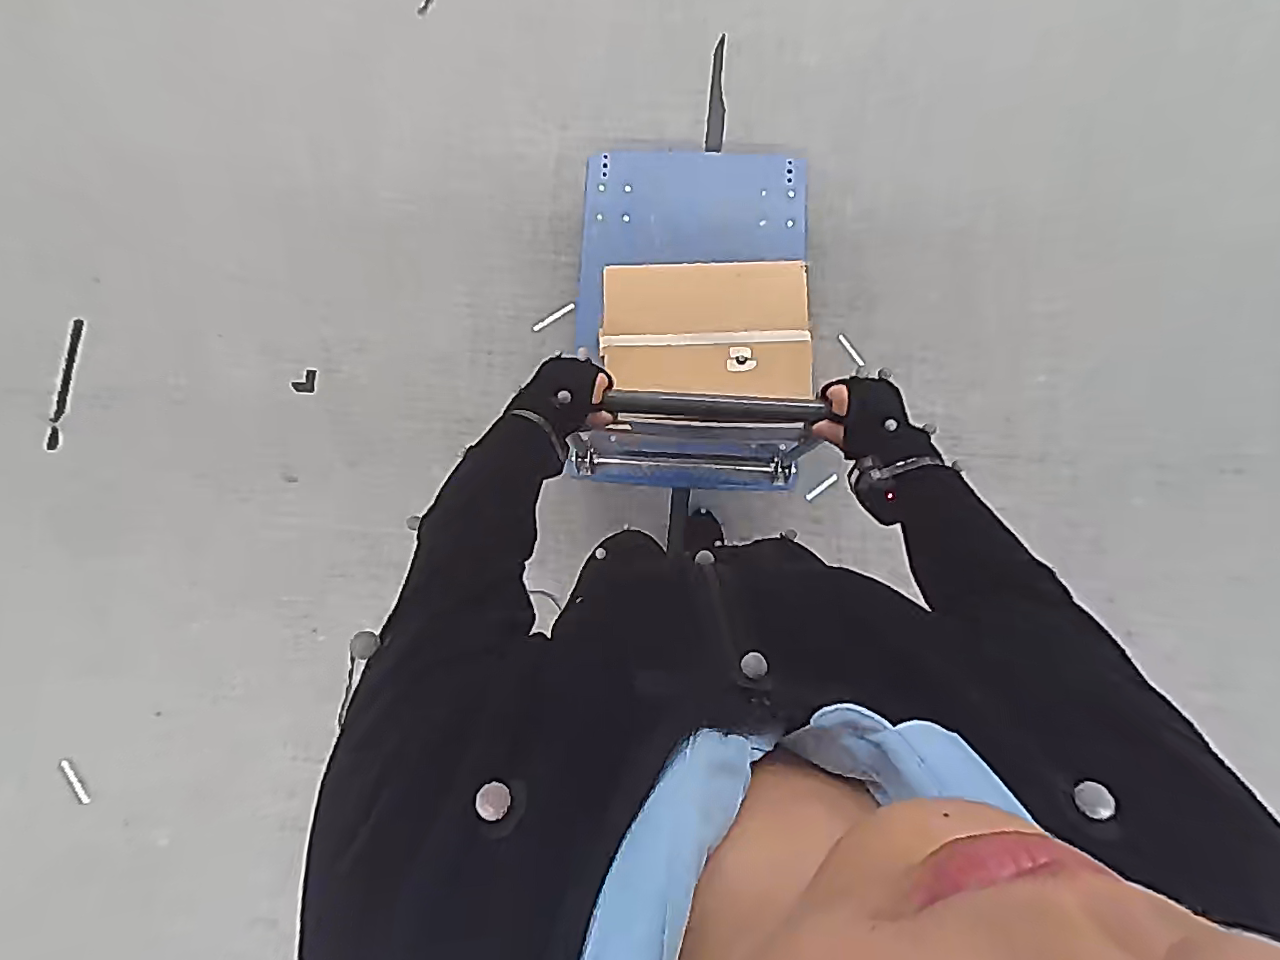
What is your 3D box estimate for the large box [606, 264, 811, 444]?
[{"bbox_3d":[0.135,-0.262,1.220,0.408,0.320,0.320,-1,85,1],"label":"large box"}]
